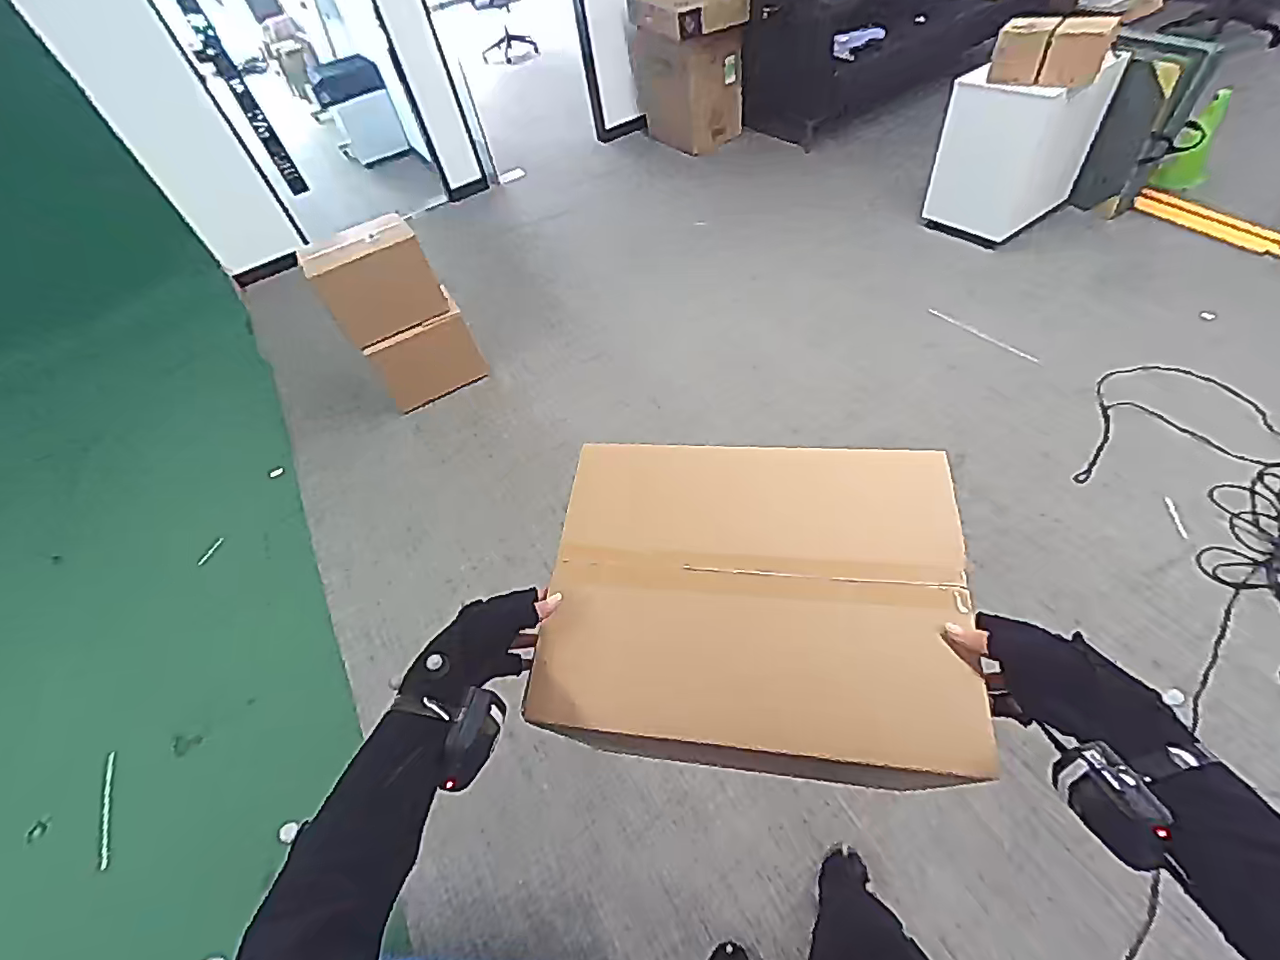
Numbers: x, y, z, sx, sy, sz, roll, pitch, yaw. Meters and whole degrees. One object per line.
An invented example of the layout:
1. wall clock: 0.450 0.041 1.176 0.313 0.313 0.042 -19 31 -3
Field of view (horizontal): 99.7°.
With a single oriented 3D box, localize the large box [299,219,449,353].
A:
1. large box: -1.029 -0.758 2.108 0.408 0.320 0.320 -29 49 -15
